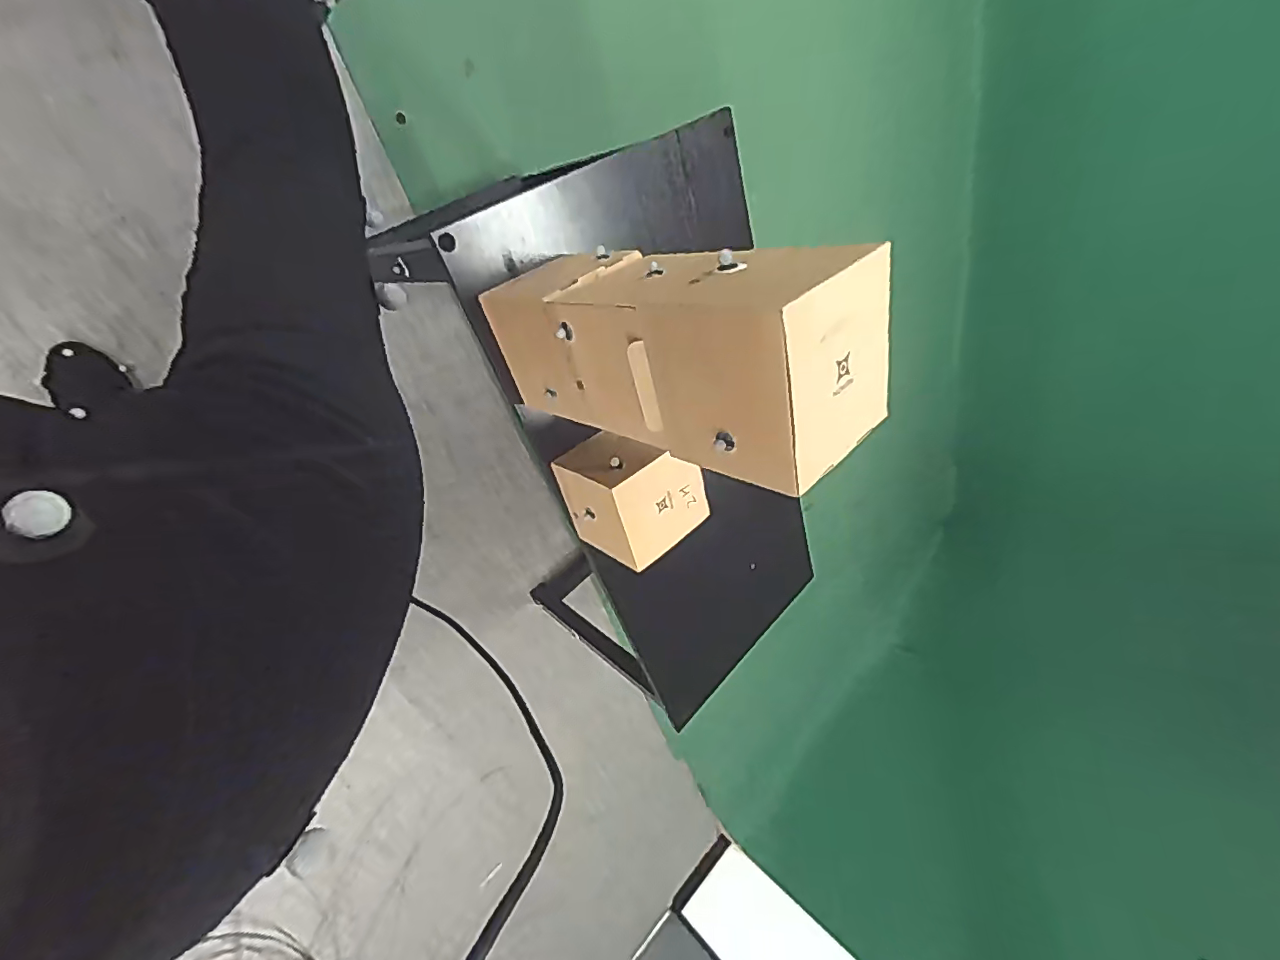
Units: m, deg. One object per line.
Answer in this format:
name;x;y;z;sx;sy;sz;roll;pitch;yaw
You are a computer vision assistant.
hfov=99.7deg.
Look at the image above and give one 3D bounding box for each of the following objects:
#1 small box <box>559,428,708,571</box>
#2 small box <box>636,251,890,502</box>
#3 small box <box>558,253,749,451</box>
small box;-0.016;0.016;0.909;0.179;0.176;0.168;-35;127;-28
small box;0.121;-0.111;0.529;0.168;0.176;0.179;-36;127;-29
small box;0.022;-0.160;0.649;0.179;0.176;0.168;-36;128;-28
